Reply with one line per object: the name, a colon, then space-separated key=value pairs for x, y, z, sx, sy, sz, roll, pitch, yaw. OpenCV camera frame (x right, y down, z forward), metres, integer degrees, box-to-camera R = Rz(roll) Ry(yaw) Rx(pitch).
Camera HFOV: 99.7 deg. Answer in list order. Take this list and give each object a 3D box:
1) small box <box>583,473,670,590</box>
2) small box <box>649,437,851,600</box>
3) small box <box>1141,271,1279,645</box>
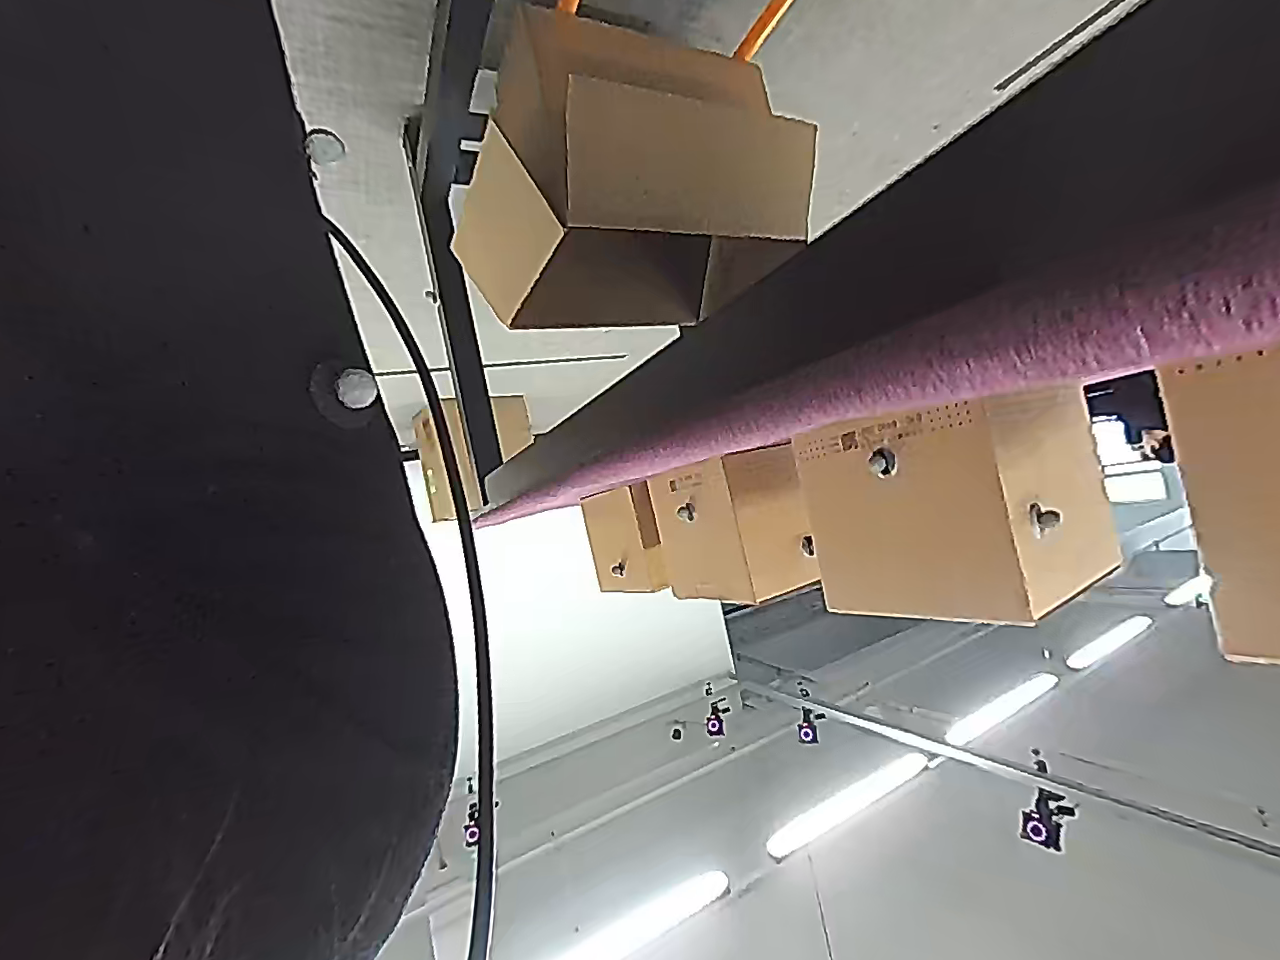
small box: x=0.018 y=0.079 z=0.906 sx=0.168 sy=0.176 sz=0.179 roll=-12 pitch=177 yaw=-33
small box: x=0.136 y=0.046 z=0.698 sx=0.179 sy=0.176 sz=0.168 roll=-11 pitch=177 yaw=-31
small box: x=0.377 y=-0.023 z=0.250 sx=0.179 sy=0.176 sz=0.168 roll=-8 pitch=176 yaw=-33
